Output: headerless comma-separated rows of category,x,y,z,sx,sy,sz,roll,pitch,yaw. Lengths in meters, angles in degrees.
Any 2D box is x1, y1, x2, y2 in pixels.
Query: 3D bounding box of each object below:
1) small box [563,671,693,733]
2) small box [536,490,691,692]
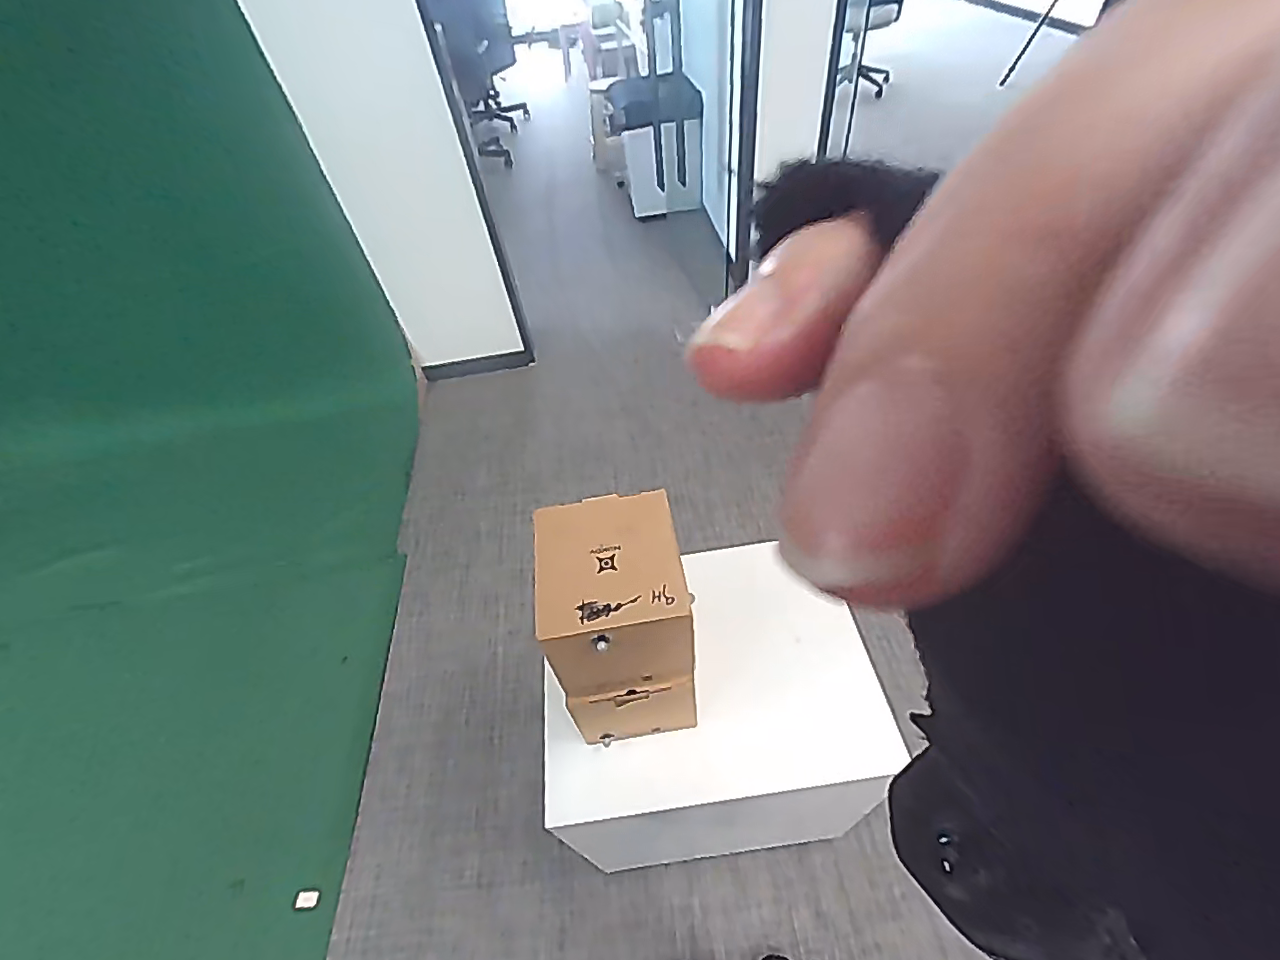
small box,-0.018,0.255,0.796,0.168,0.176,0.179,-9,48,-1
small box,-0.031,0.140,0.680,0.168,0.176,0.179,-9,48,-1
